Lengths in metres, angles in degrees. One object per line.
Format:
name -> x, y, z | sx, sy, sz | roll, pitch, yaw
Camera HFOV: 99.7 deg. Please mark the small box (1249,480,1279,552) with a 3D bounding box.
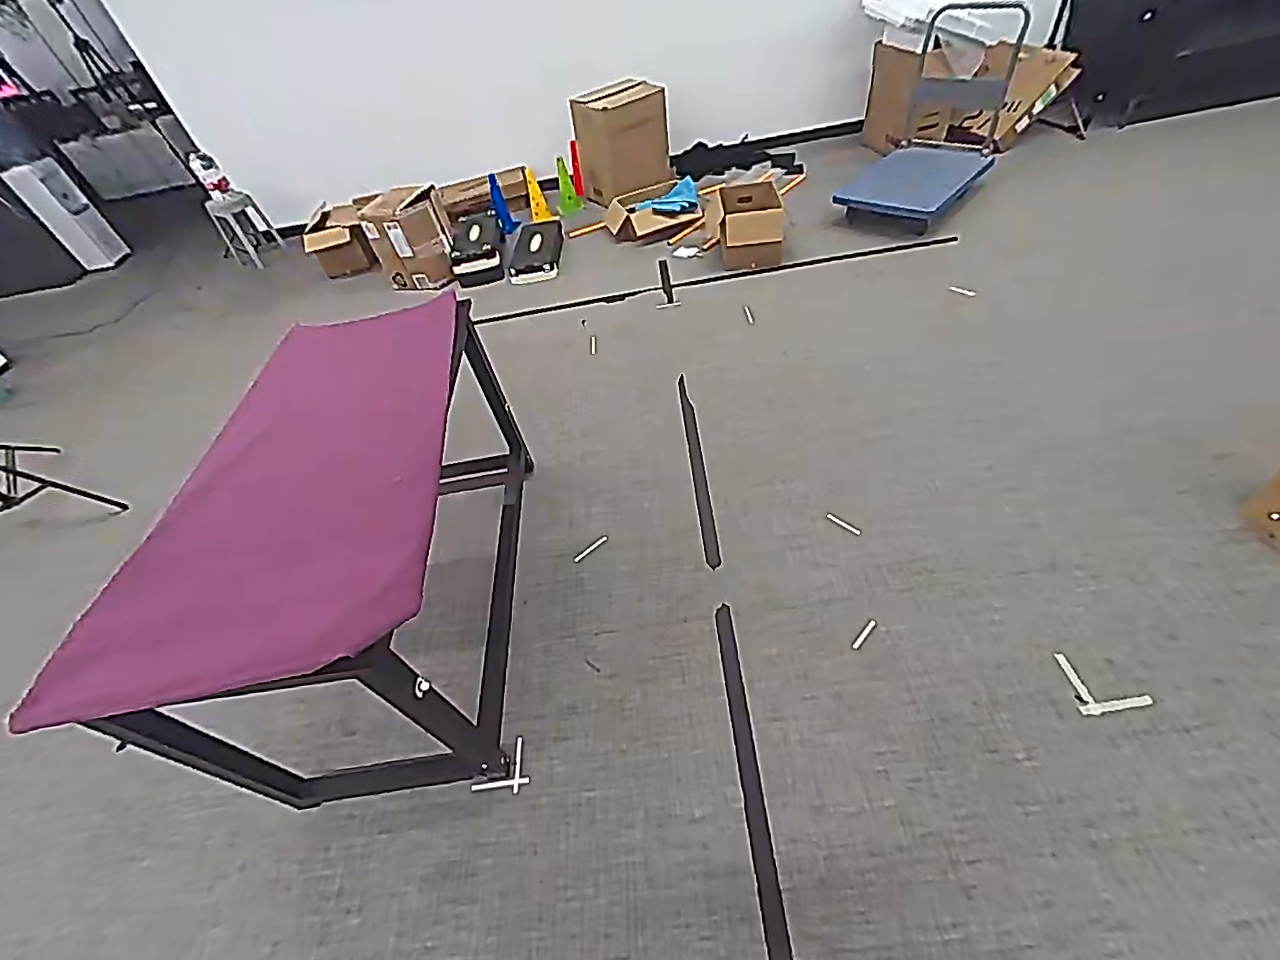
small box -> 1.874, 0.099, 1.500 | 0.179, 0.176, 0.168 | -6, 47, 5
